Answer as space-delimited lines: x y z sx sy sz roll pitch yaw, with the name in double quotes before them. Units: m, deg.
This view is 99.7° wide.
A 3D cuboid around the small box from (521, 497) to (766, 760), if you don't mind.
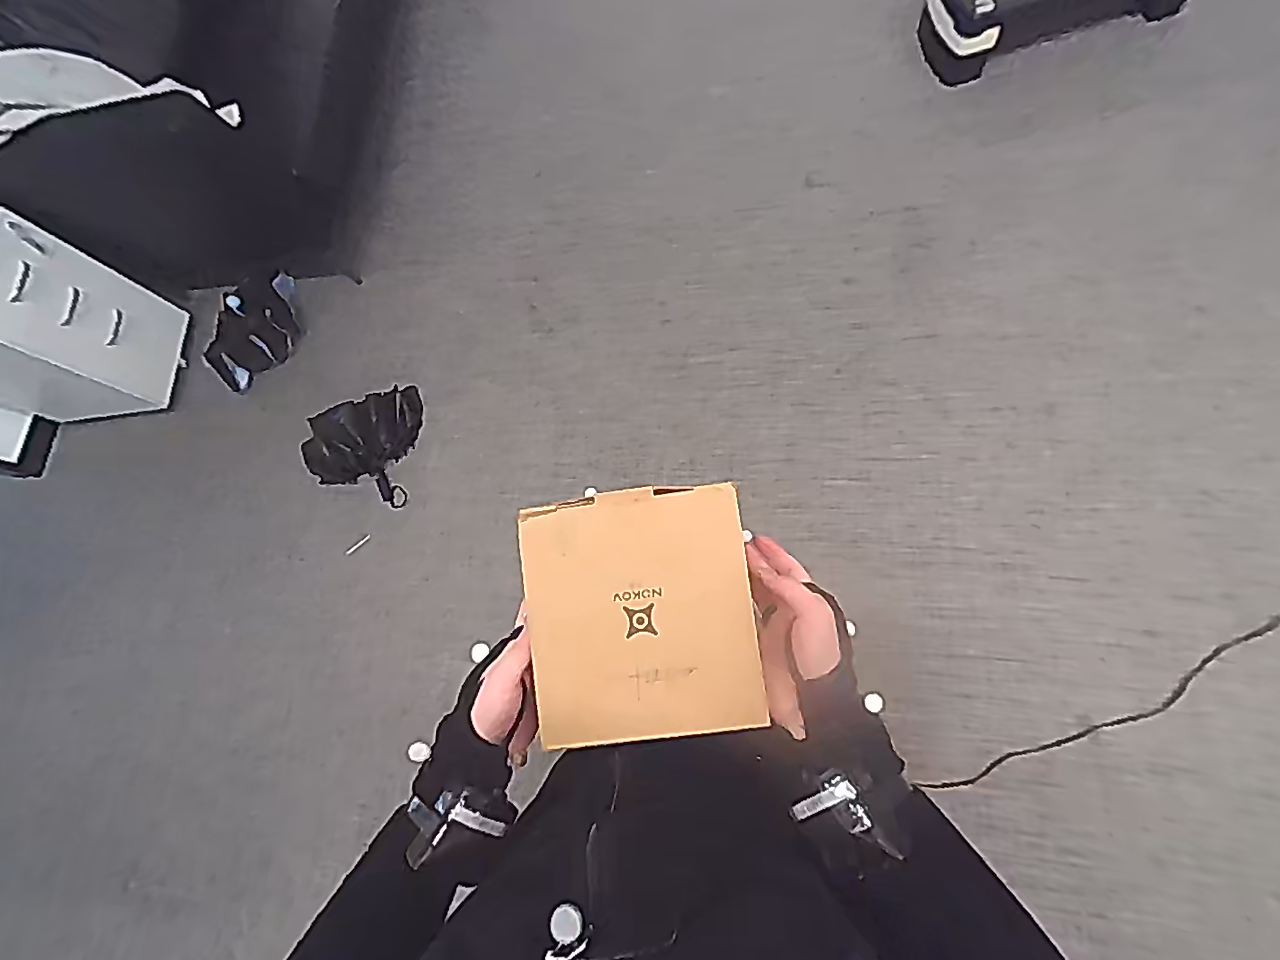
"small box" 0.005 0.114 0.471 0.168 0.176 0.179 -7 86 4
